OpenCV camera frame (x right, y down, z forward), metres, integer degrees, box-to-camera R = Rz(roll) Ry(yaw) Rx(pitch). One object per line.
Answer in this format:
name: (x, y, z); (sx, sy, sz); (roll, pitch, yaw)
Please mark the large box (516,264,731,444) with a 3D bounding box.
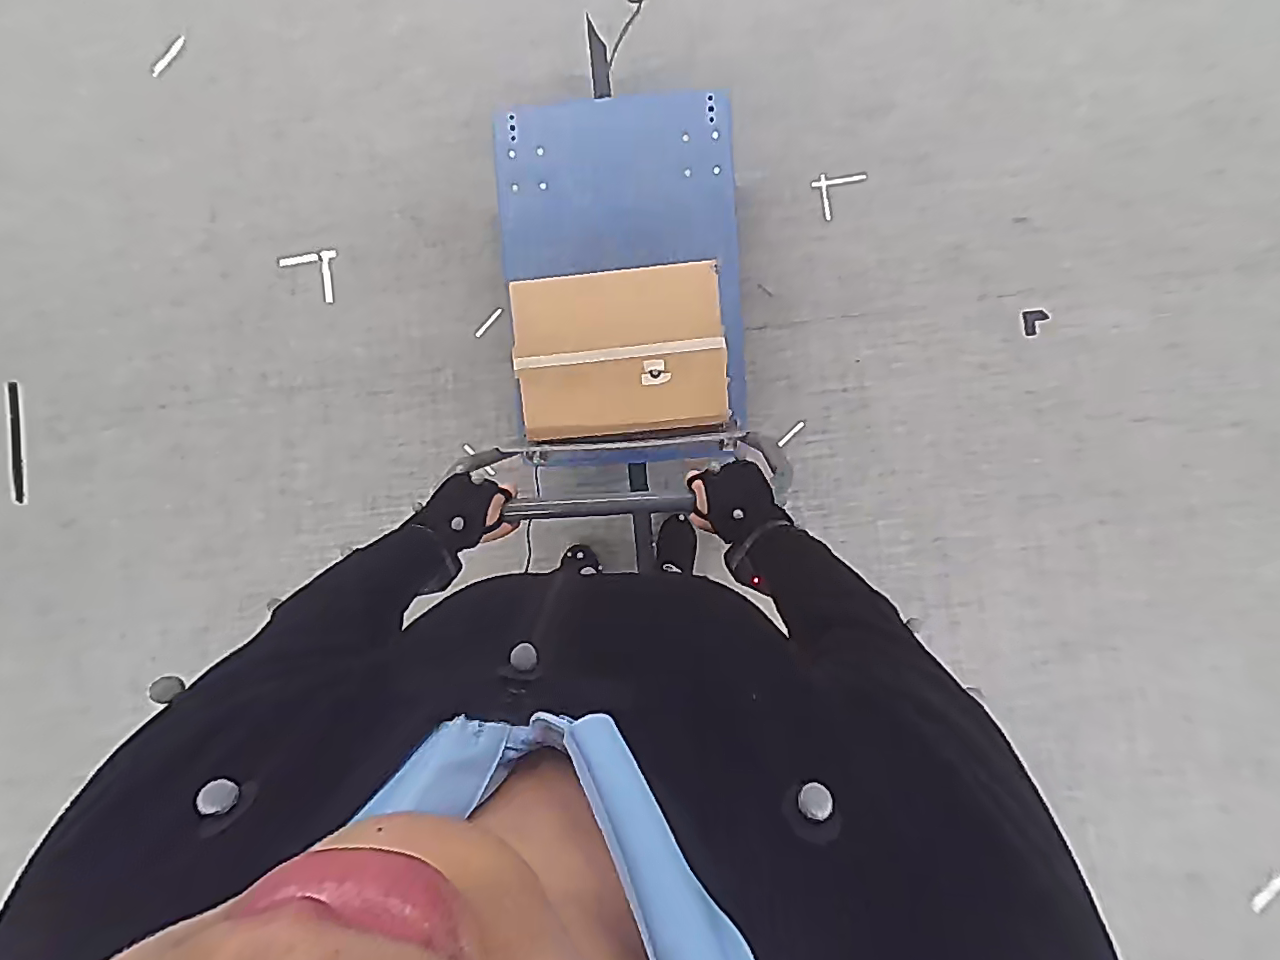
large box: (-0.030, -0.259, 1.214); (0.408, 0.320, 0.320); (-6, 96, 2)
